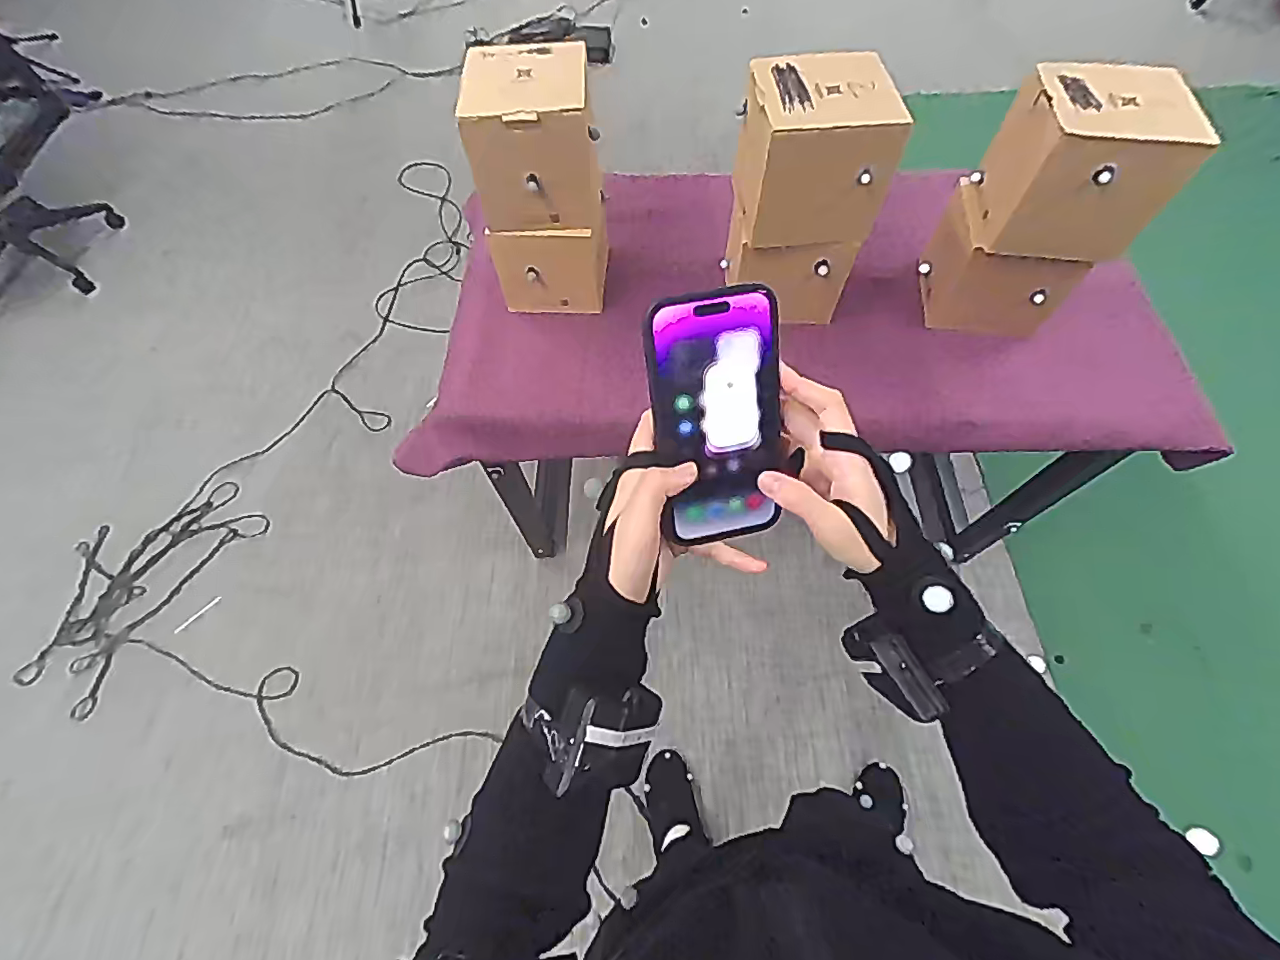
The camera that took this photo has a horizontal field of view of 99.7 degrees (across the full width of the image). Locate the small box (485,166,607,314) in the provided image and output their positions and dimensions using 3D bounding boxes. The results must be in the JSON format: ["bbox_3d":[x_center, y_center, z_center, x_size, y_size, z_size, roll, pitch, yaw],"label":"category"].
[{"bbox_3d":[-0.149,-0.405,0.928,0.168,0.176,0.179,1,62,3],"label":"small box"}]

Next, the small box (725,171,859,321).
[{"bbox_3d":[0.240,-0.382,0.898,0.179,0.176,0.168,1,62,3],"label":"small box"}]

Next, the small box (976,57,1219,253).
[{"bbox_3d":[0.581,-0.428,0.724,0.179,0.176,0.168,6,62,5],"label":"small box"}]

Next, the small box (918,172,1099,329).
[{"bbox_3d":[0.579,-0.365,0.876,0.179,0.176,0.168,6,62,6],"label":"small box"}]

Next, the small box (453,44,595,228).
[{"bbox_3d":[-0.155,-0.489,0.787,0.168,0.176,0.179,-3,62,0],"label":"small box"}]
